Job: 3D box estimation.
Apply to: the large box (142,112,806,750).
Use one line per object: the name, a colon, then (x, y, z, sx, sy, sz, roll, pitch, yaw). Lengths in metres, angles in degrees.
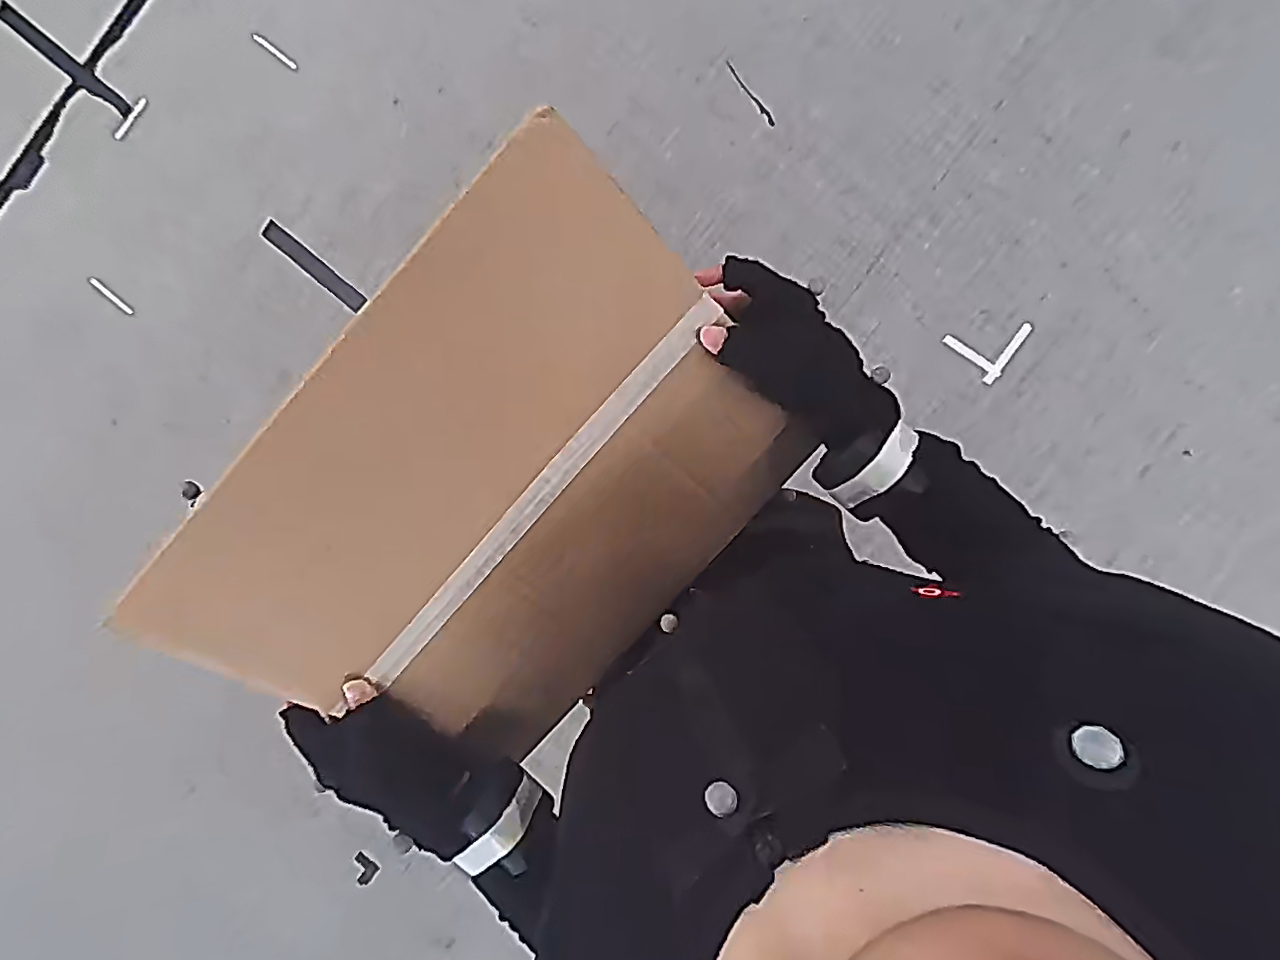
large box: (-0.136, -0.039, 0.531, 0.408, 0.320, 0.320, -47, 120, 4)
